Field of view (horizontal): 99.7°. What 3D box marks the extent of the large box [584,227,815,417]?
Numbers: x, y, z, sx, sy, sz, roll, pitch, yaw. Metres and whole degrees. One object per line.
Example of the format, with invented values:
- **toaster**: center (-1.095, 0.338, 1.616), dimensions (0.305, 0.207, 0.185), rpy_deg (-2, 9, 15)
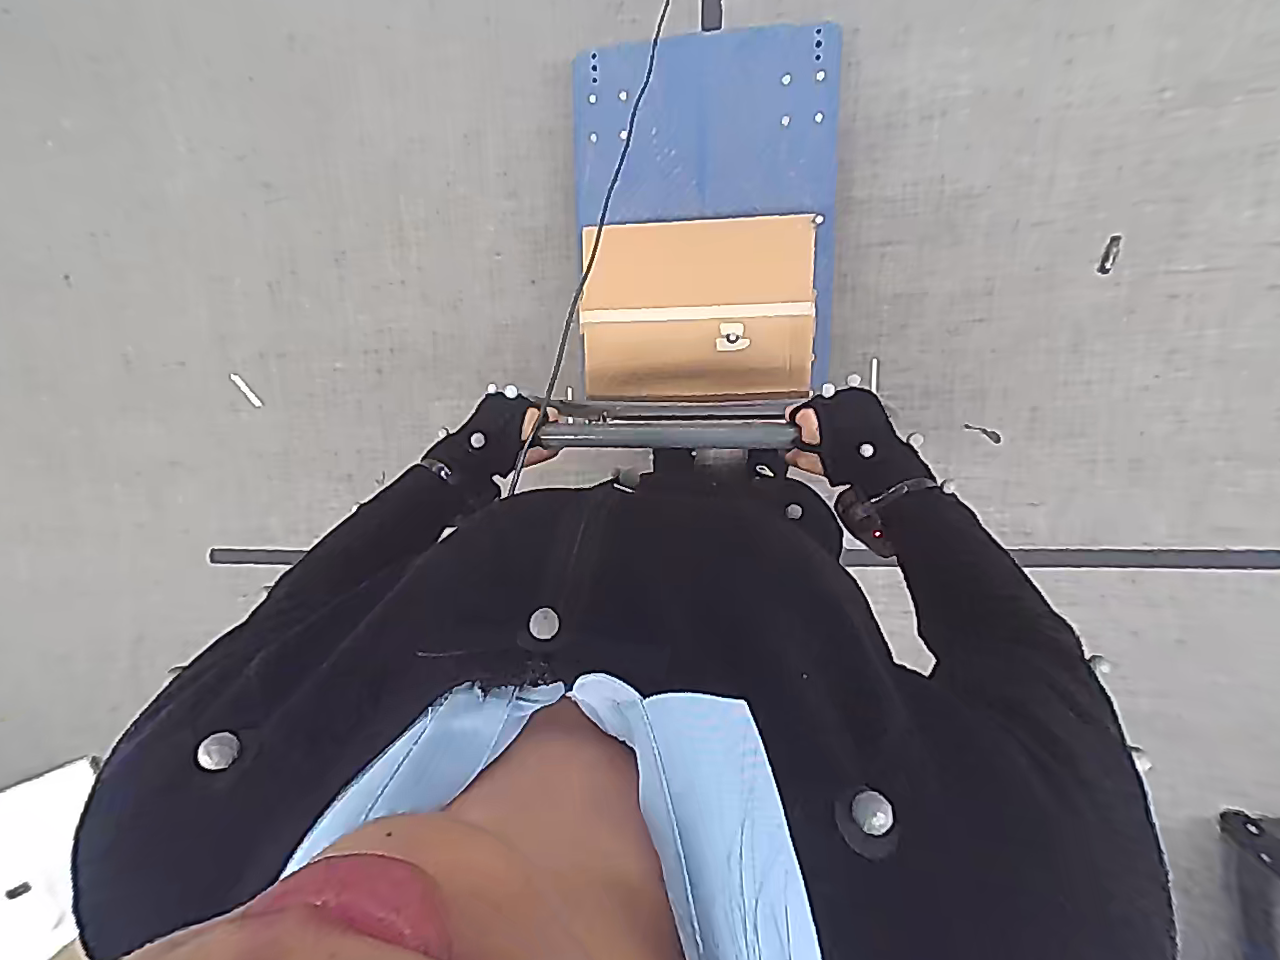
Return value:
- **large box**: center (0.117, -0.288, 1.094), dimensions (0.408, 0.320, 0.320), rpy_deg (0, 97, 8)
